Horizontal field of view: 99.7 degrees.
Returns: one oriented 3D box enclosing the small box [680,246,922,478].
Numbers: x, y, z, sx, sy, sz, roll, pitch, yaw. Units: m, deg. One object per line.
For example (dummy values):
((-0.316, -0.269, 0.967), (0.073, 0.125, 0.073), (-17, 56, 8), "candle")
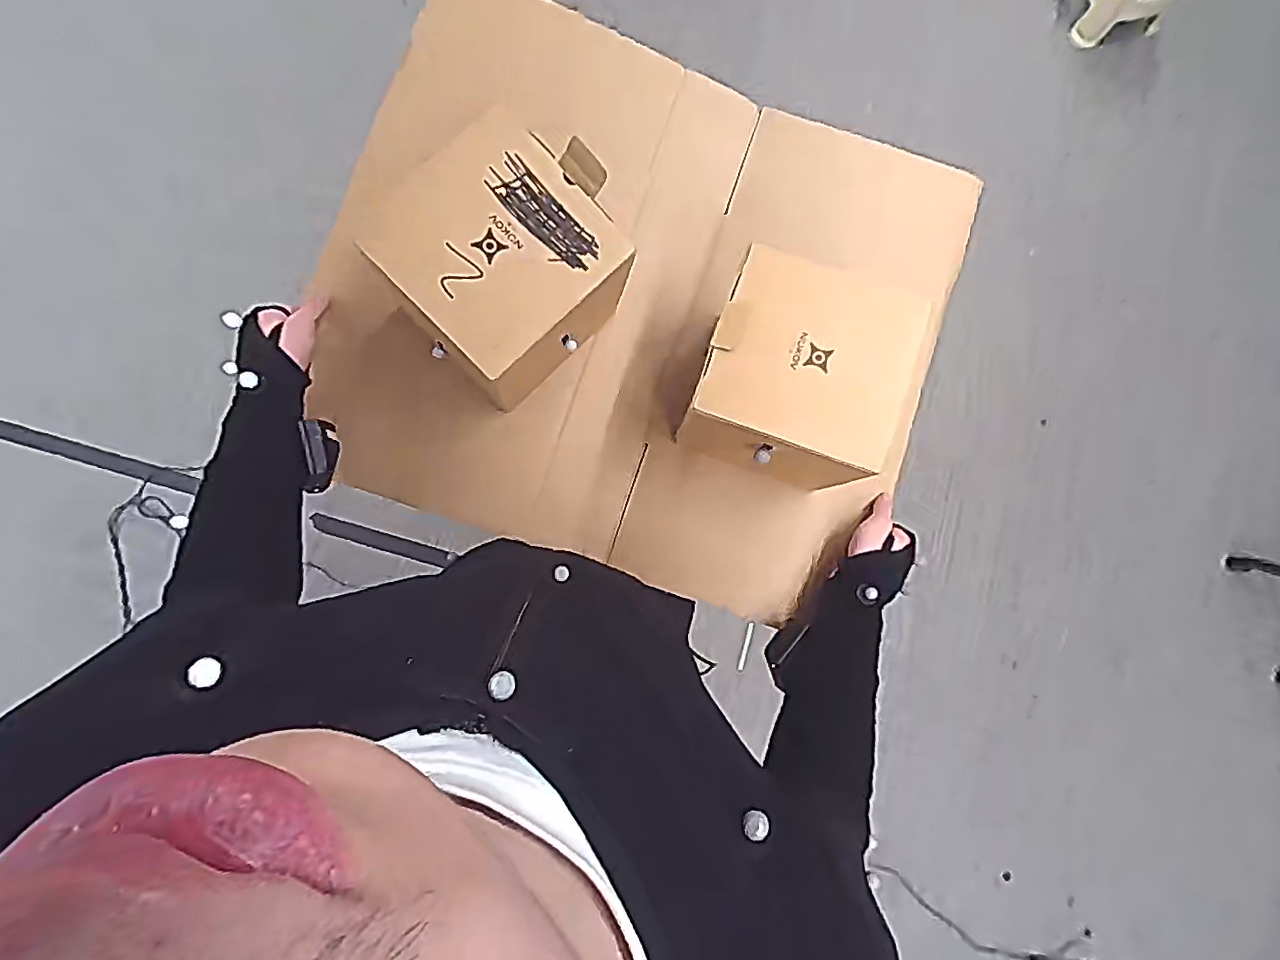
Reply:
((0.152, -0.107, 0.572), (0.179, 0.176, 0.168), (19, 84, 2), "small box")
